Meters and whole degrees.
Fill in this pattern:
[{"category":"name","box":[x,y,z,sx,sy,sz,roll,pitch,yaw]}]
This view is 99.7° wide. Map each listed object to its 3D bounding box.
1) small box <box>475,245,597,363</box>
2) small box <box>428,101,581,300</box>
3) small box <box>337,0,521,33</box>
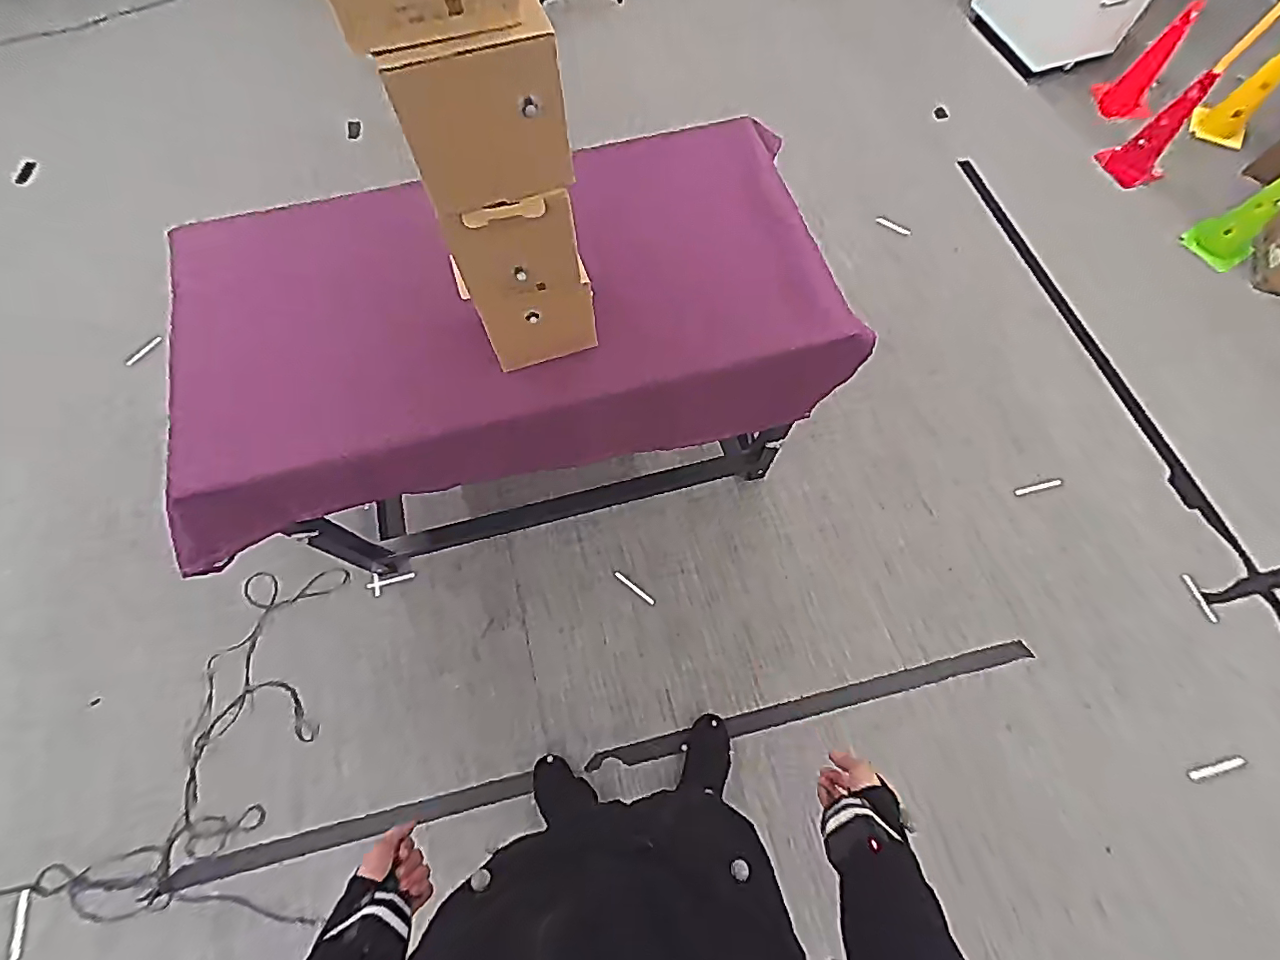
[{"category":"small box","box":[-0.181,-0.323,0.915,0.179,0.176,0.168,-17,69,-7]},{"category":"small box","box":[-0.183,-0.387,0.764,0.168,0.176,0.179,-12,69,-4]},{"category":"small box","box":[-0.213,-0.525,0.466,0.168,0.176,0.179,-18,68,-8]}]
